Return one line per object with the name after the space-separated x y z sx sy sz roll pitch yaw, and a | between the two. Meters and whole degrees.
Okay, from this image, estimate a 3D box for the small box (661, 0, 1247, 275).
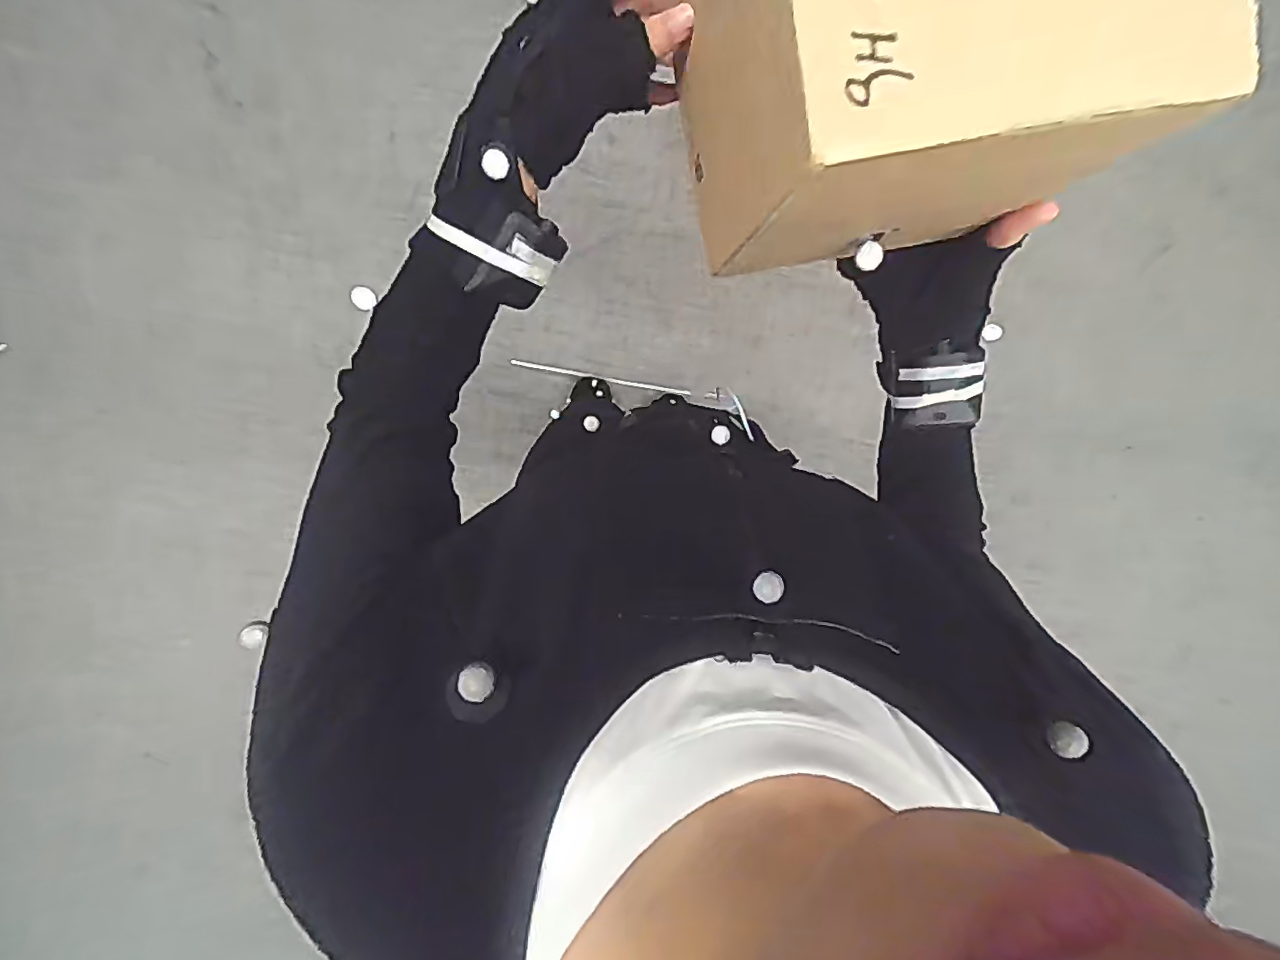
0.120 -0.214 0.263 0.179 0.176 0.168 -11 97 -6 | small box
